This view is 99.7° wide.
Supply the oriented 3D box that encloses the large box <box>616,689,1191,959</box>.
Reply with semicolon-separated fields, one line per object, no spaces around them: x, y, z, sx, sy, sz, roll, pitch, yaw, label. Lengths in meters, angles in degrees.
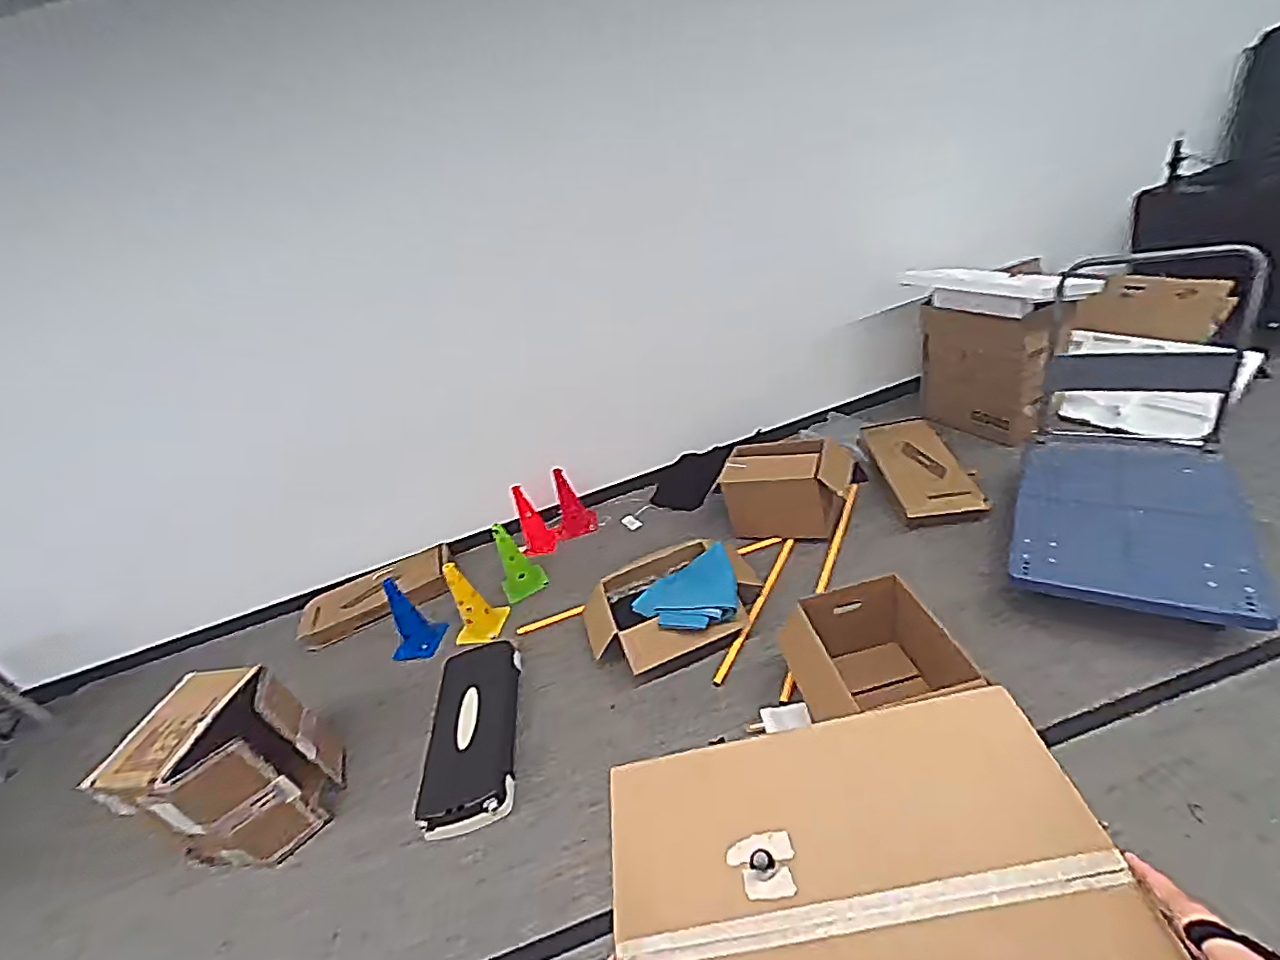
0.220;0.457;0.510;0.408;0.320;0.320;-16;35;7;large box
